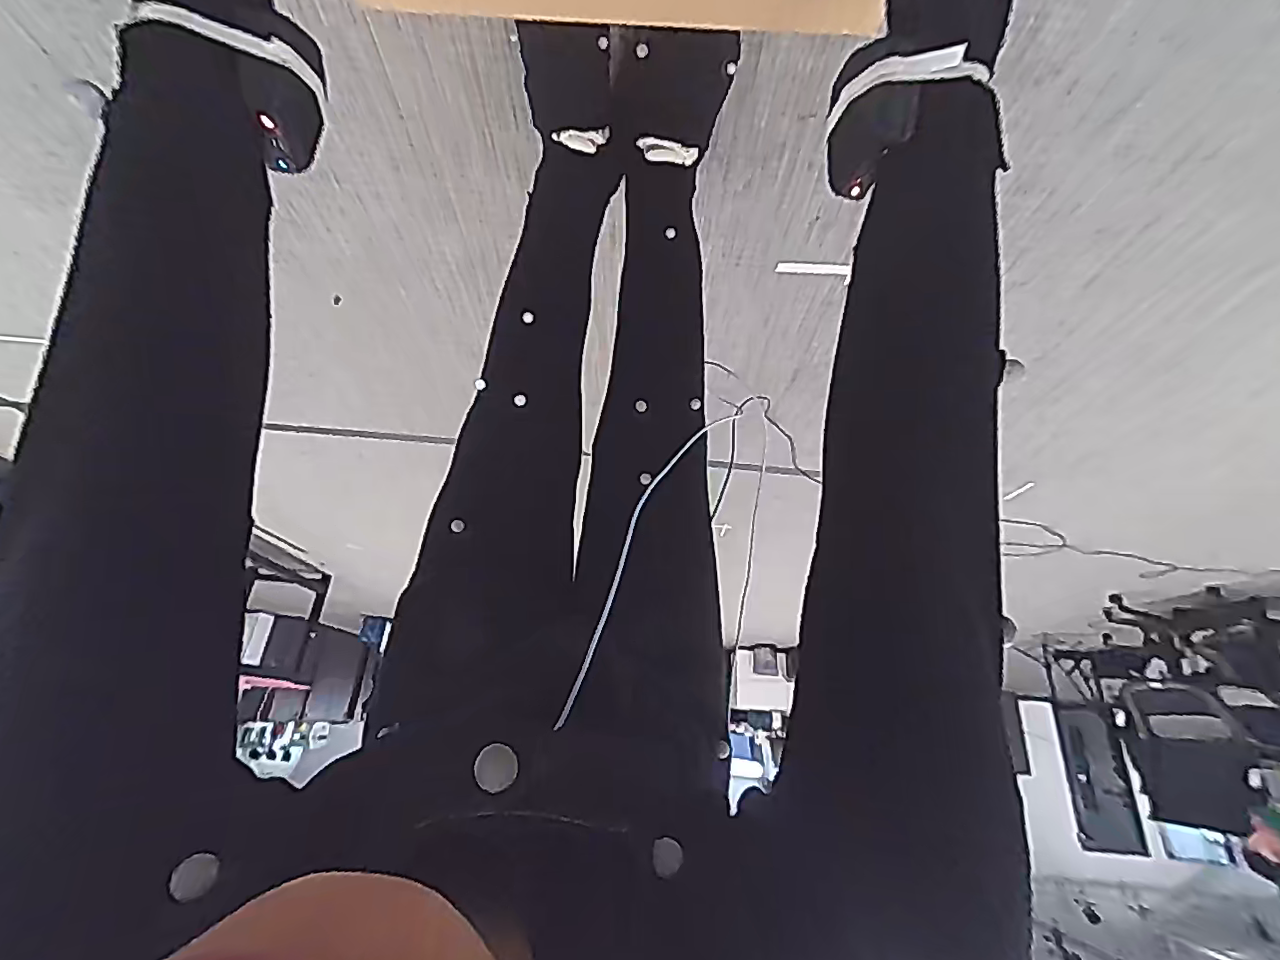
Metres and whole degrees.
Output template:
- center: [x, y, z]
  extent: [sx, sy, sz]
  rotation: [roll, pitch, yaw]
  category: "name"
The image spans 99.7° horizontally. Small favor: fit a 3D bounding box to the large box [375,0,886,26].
- center: [-0.006, -0.561, 0.350]
  extent: [0.408, 0.320, 0.320]
  rotation: [4, 157, 2]
  category: "large box"
